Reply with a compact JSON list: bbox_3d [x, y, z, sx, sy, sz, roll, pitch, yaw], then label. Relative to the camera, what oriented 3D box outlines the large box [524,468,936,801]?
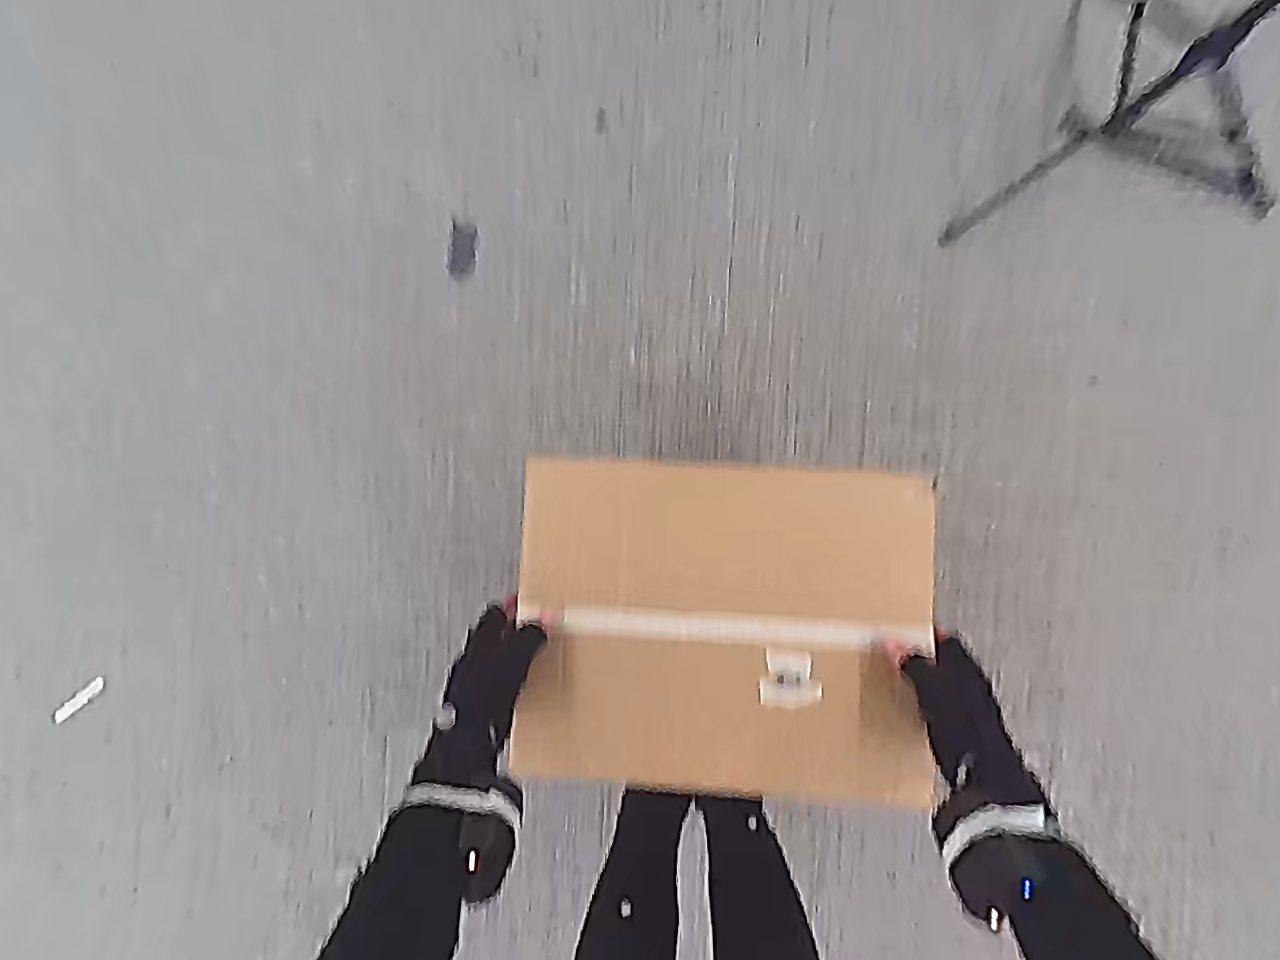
[{"bbox_3d":[0.093,0.162,0.682,0.408,0.320,0.320,2,85,3],"label":"large box"}]
